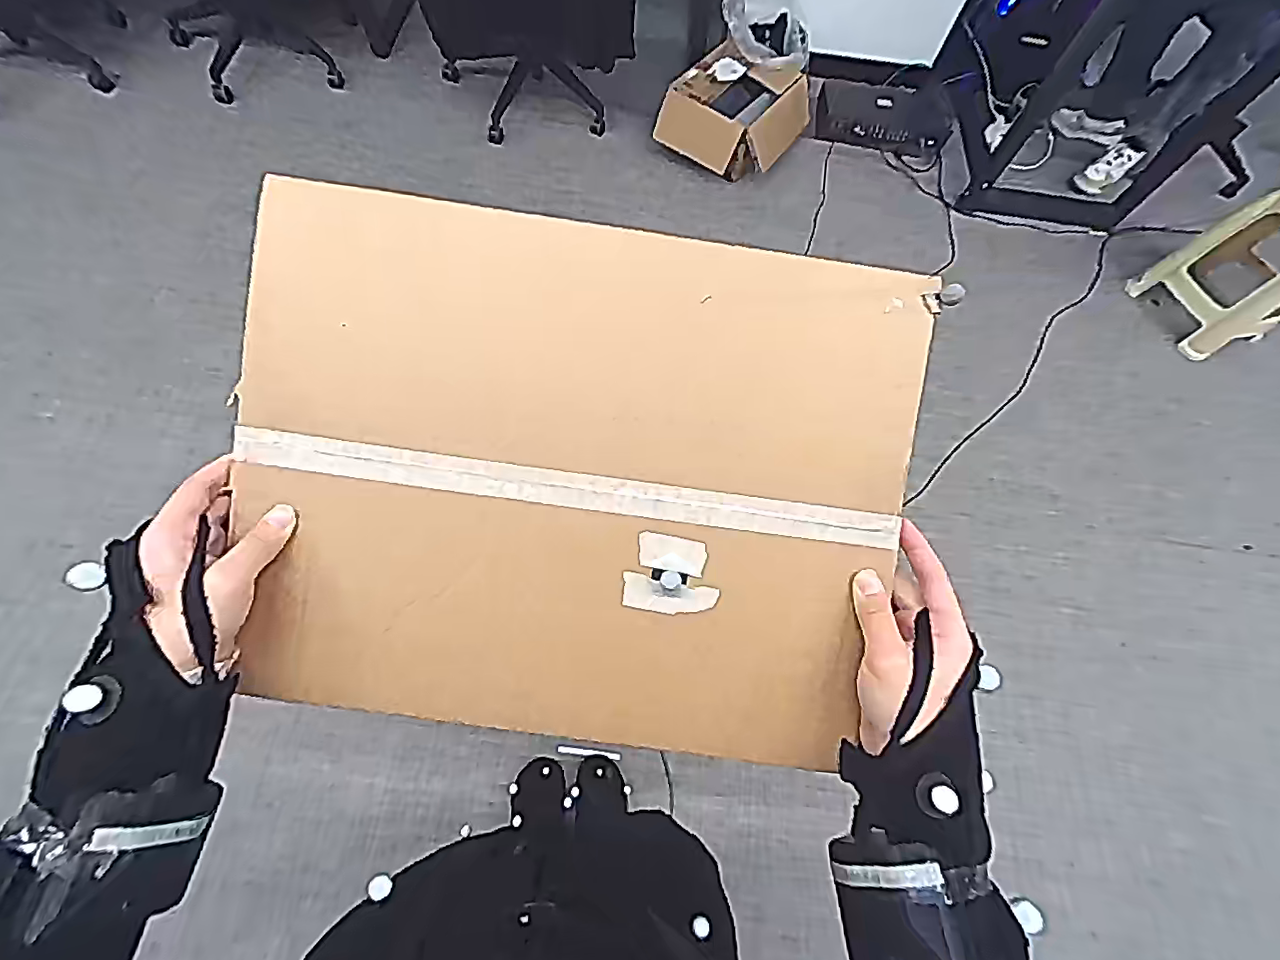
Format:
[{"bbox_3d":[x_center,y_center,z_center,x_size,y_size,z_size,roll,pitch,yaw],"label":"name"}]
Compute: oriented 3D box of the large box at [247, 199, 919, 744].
[{"bbox_3d":[-0.042,-0.007,0.492,0.408,0.320,0.320,8,94,-2],"label":"large box"}]
